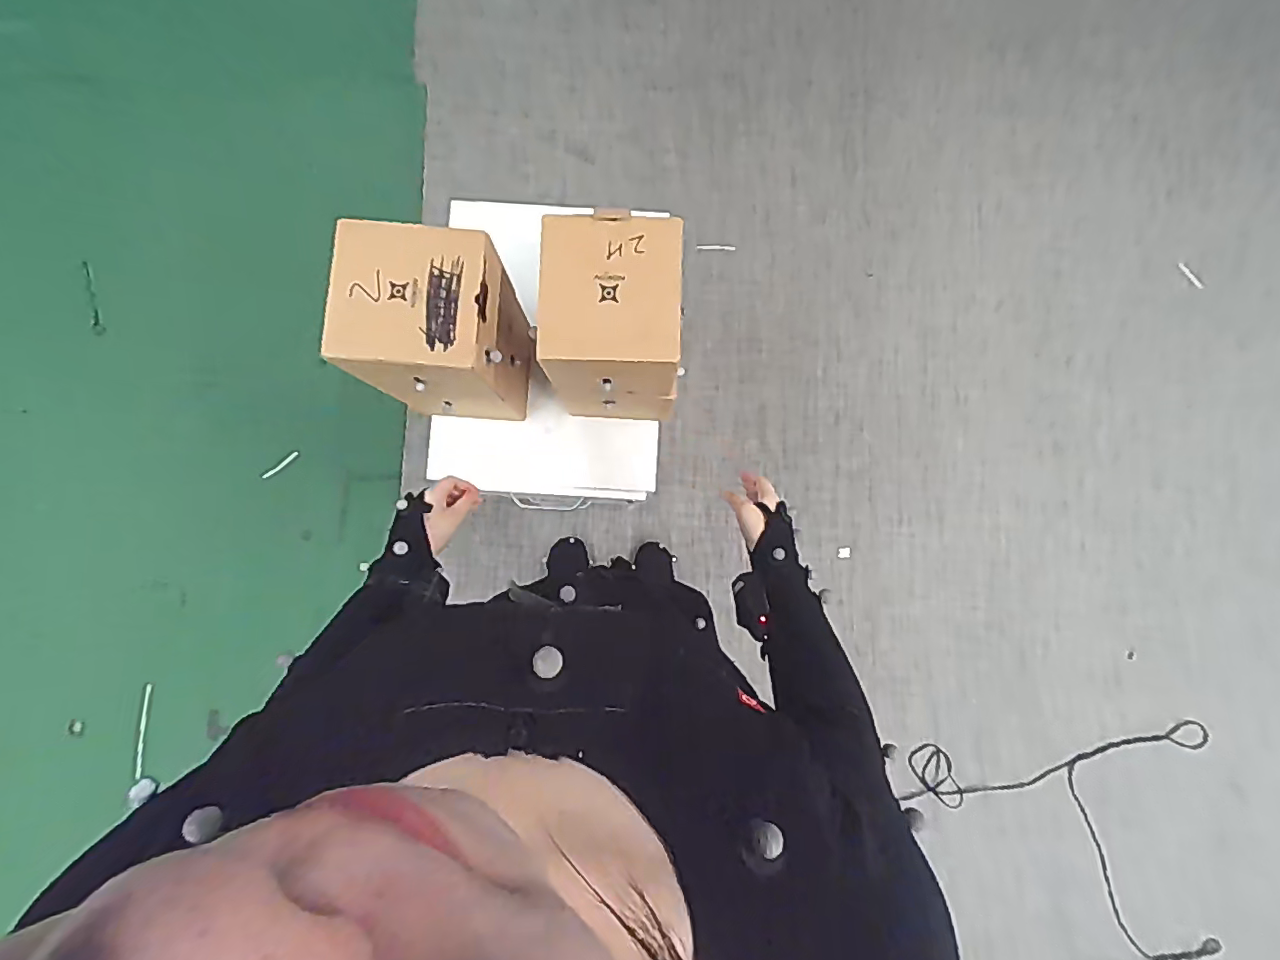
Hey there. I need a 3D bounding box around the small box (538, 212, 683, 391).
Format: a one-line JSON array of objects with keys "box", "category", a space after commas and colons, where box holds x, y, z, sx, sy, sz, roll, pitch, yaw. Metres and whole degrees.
[{"box": [-0.034, -0.219, 0.706, 0.168, 0.176, 0.179, 1, 85, -1], "category": "small box"}]

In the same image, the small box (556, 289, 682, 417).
[{"box": [-0.030, -0.201, 0.870, 0.179, 0.176, 0.168, 4, 85, -1], "category": "small box"}]

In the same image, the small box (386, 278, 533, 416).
[{"box": [-0.278, -0.202, 0.866, 0.179, 0.176, 0.168, 4, 86, -3], "category": "small box"}]
